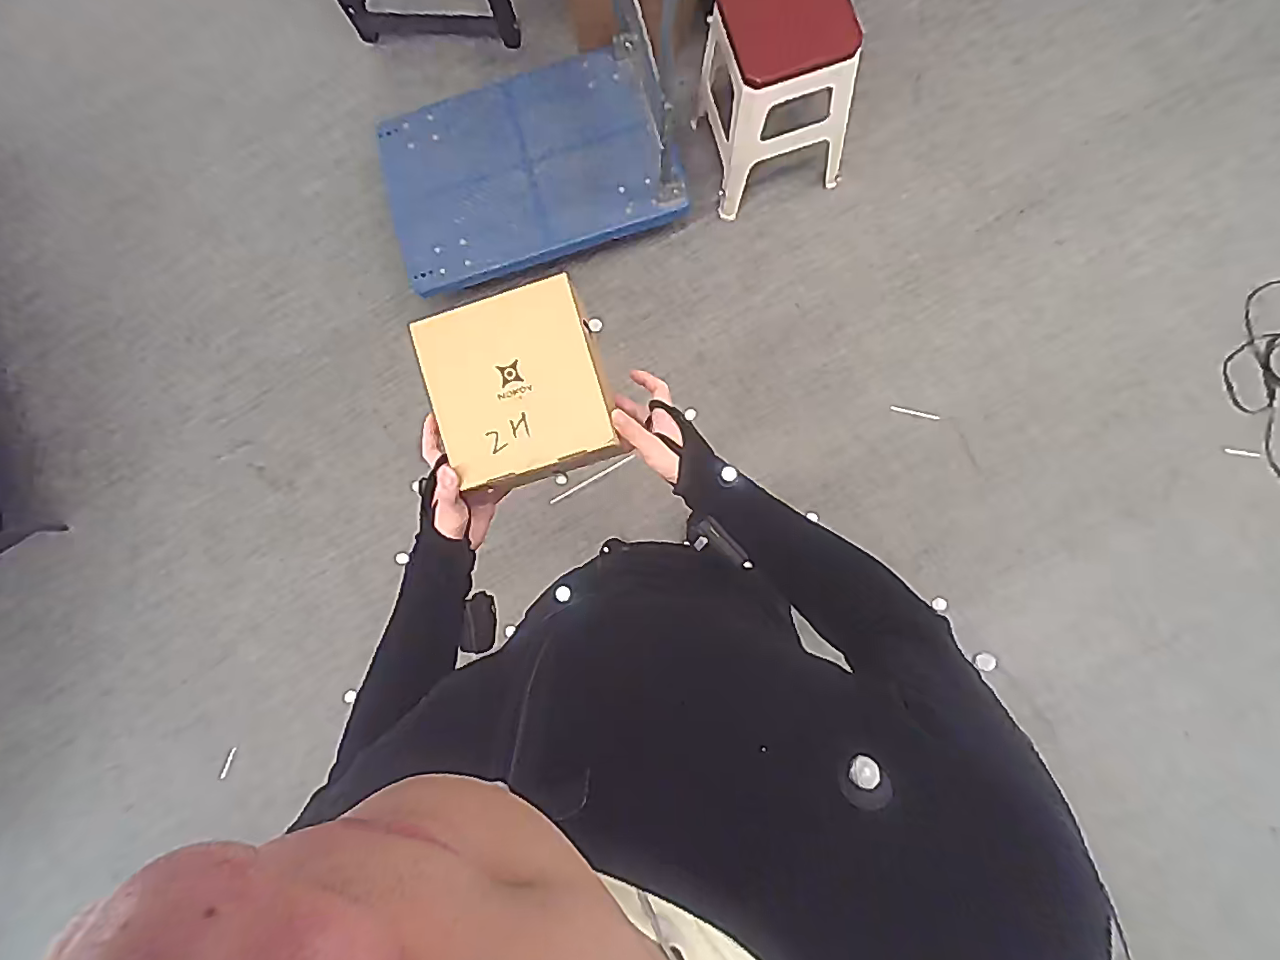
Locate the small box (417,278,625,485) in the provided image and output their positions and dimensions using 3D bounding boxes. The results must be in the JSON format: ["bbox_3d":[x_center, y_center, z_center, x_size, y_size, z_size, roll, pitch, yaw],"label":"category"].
[{"bbox_3d":[-0.121,-0.097,0.618,0.168,0.176,0.179,-16,89,4],"label":"small box"}]
